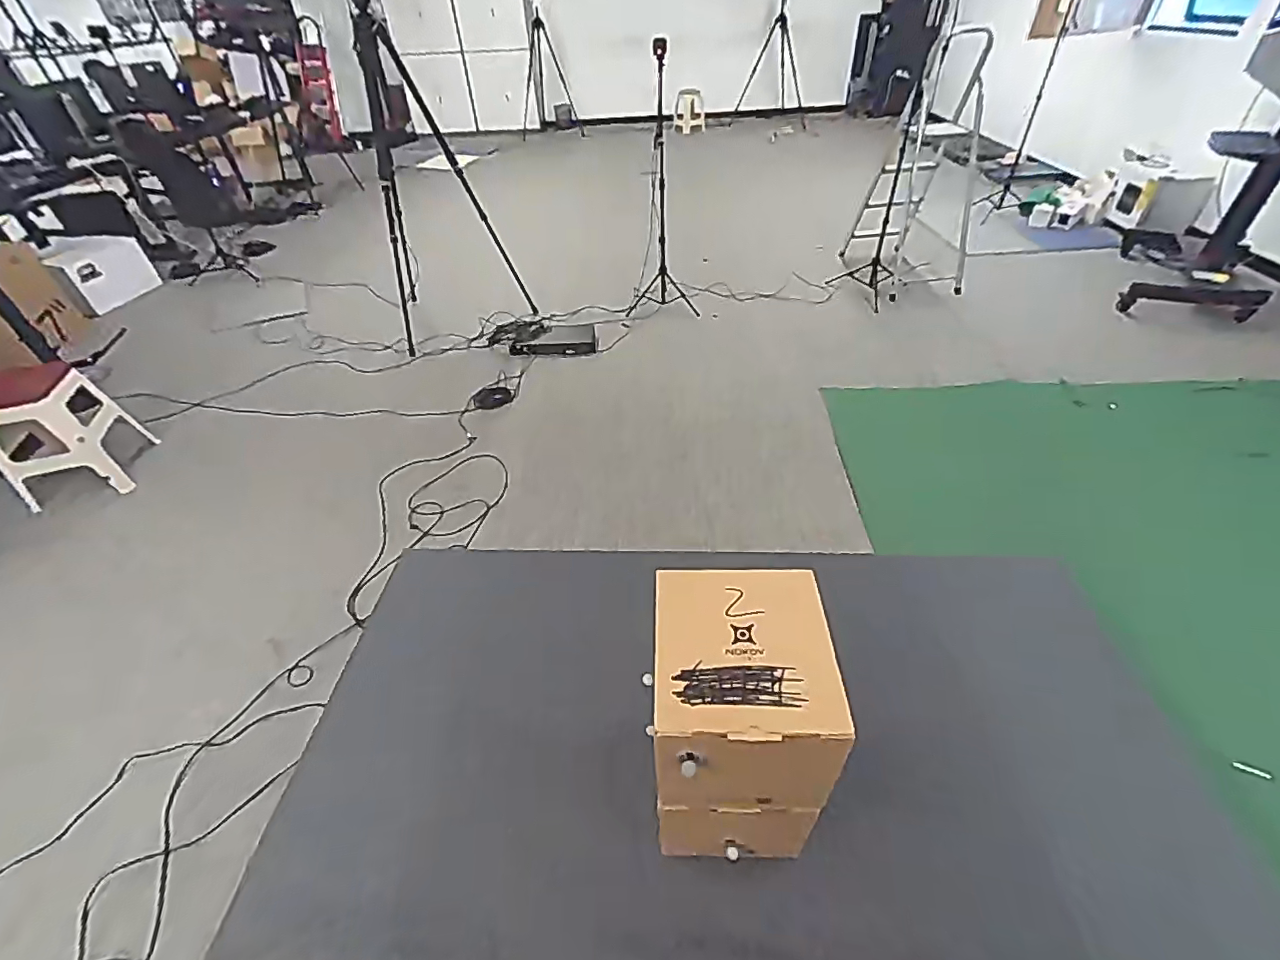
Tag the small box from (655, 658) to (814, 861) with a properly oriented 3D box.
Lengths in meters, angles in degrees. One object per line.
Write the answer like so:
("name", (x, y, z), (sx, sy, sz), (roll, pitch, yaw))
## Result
("small box", (0.102, 0.342, 0.668), (0.168, 0.176, 0.179), (-1, 42, 3))
